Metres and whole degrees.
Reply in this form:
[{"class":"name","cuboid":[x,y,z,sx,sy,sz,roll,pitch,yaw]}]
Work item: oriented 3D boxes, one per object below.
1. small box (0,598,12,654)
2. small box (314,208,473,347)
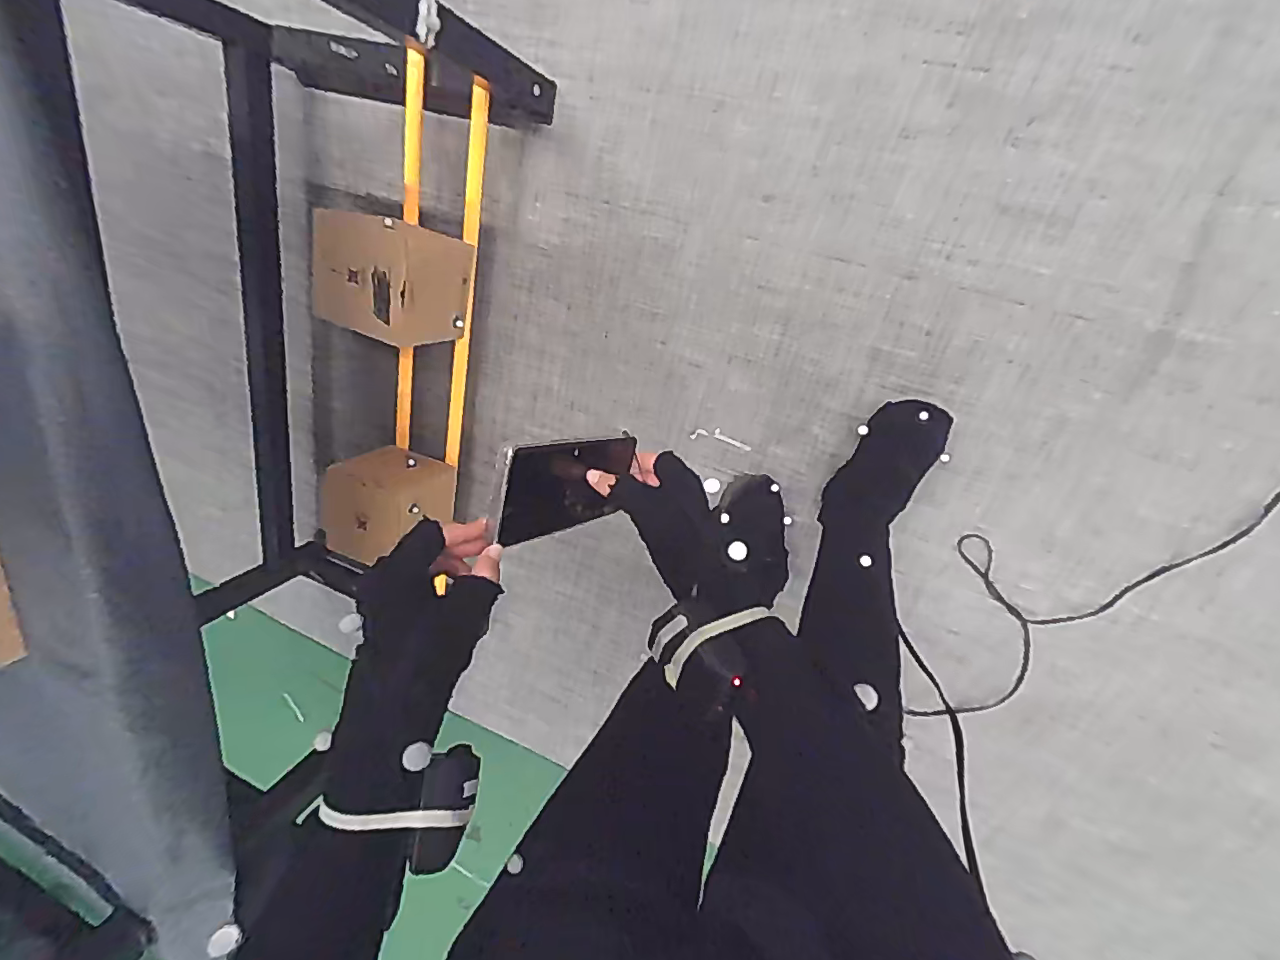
[{"class":"small box","cuboid":[-0.717,0.099,0.471,0.168,0.176,0.179,22,115,12]},{"class":"small box","cuboid":[-0.404,-0.336,0.901,0.179,0.176,0.168,22,114,12]}]
